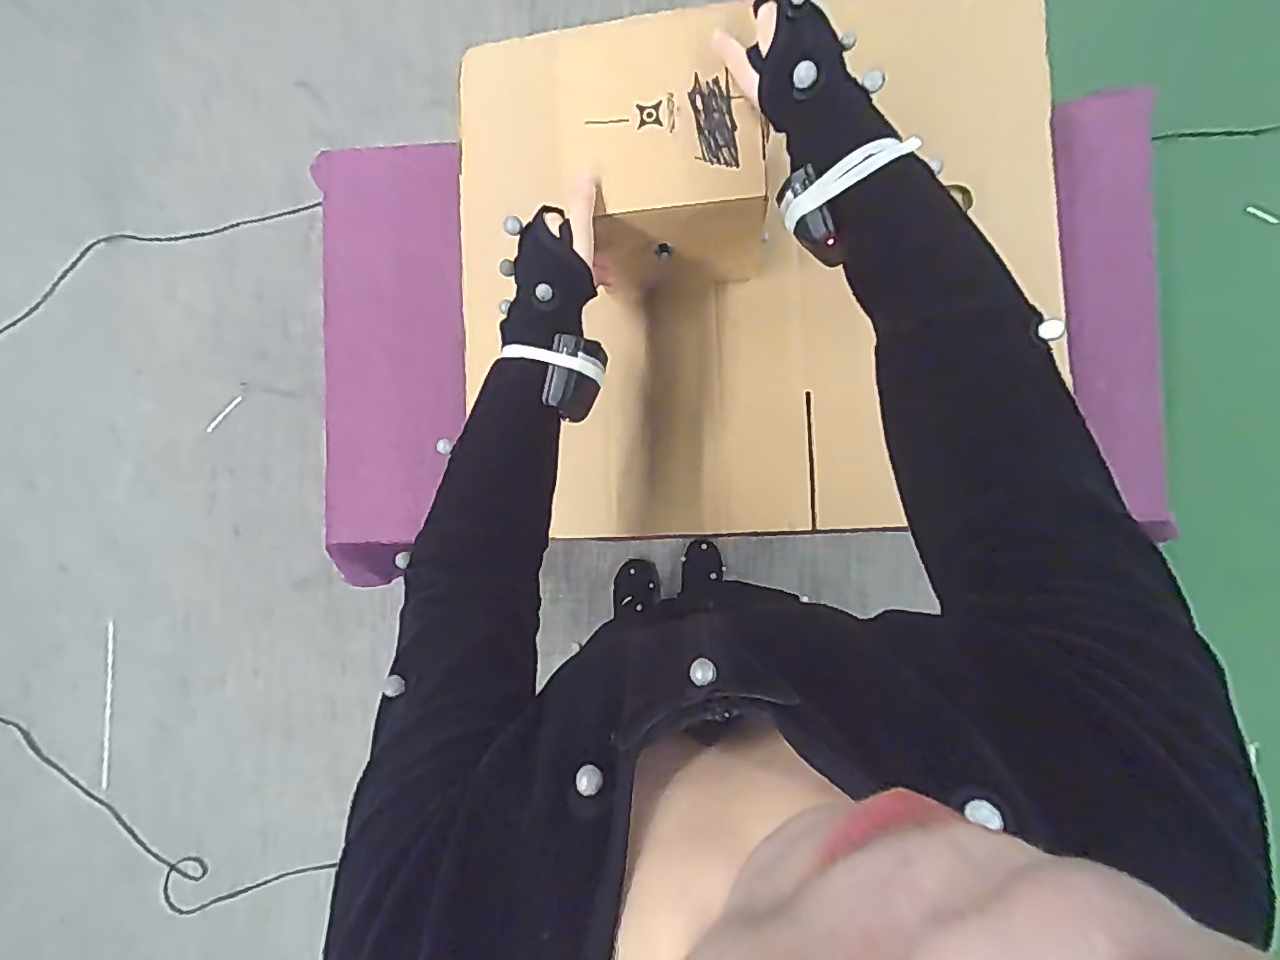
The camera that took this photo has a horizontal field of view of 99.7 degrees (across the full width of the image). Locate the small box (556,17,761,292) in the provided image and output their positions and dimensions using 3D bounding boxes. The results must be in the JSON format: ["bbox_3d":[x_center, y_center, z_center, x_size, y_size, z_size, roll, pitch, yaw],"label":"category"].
[{"bbox_3d":[0.025,-0.305,0.546,0.179,0.176,0.168,-3,88,10],"label":"small box"}]
